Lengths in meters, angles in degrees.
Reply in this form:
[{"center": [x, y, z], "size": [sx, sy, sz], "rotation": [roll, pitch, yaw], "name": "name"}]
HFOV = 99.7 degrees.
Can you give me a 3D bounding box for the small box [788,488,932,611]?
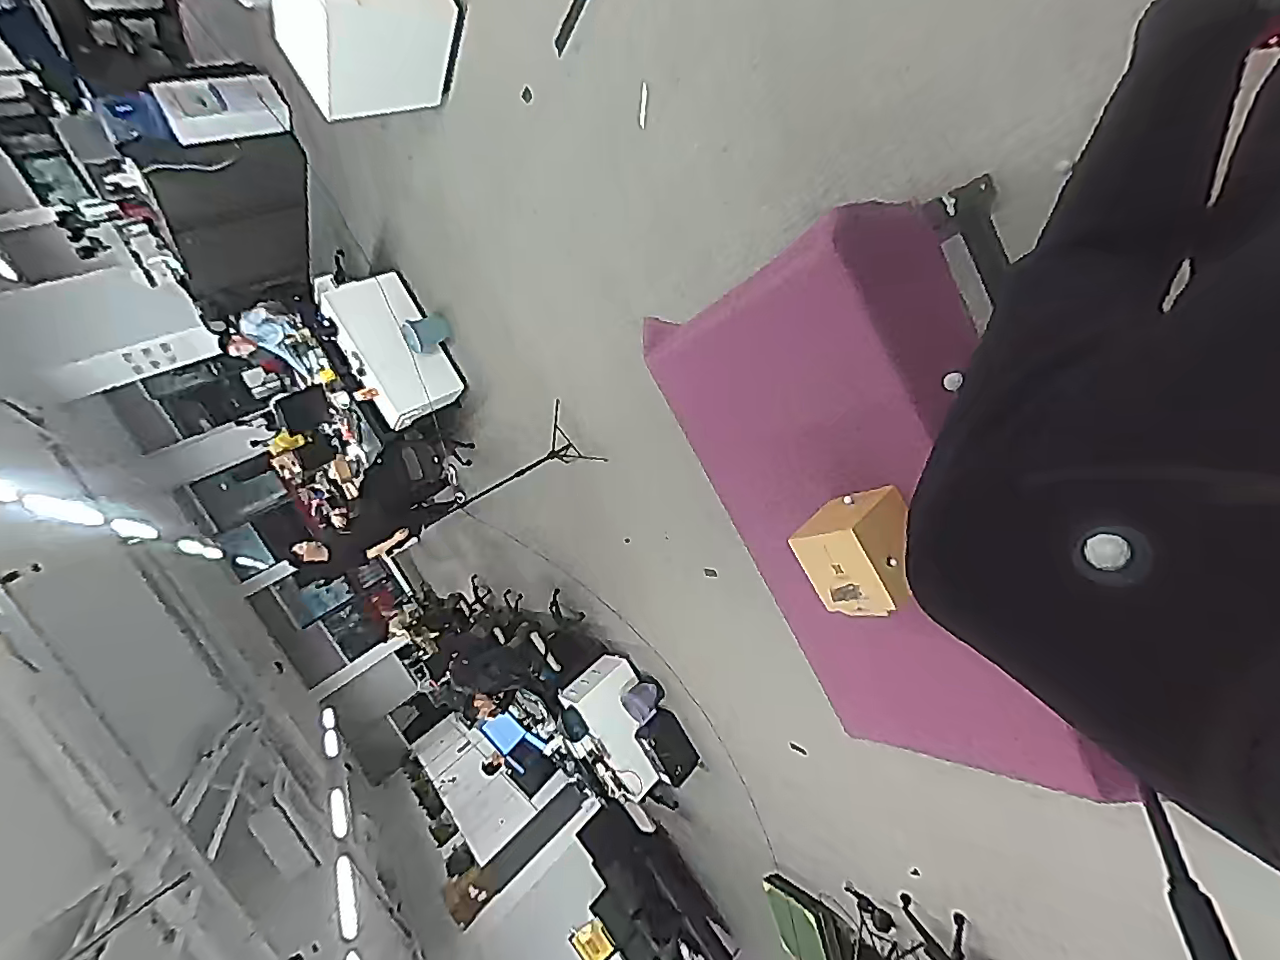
[{"center": [0.439, 0.140, 1.073], "size": [0.179, 0.176, 0.168], "rotation": [59, 149, -4], "name": "small box"}]
